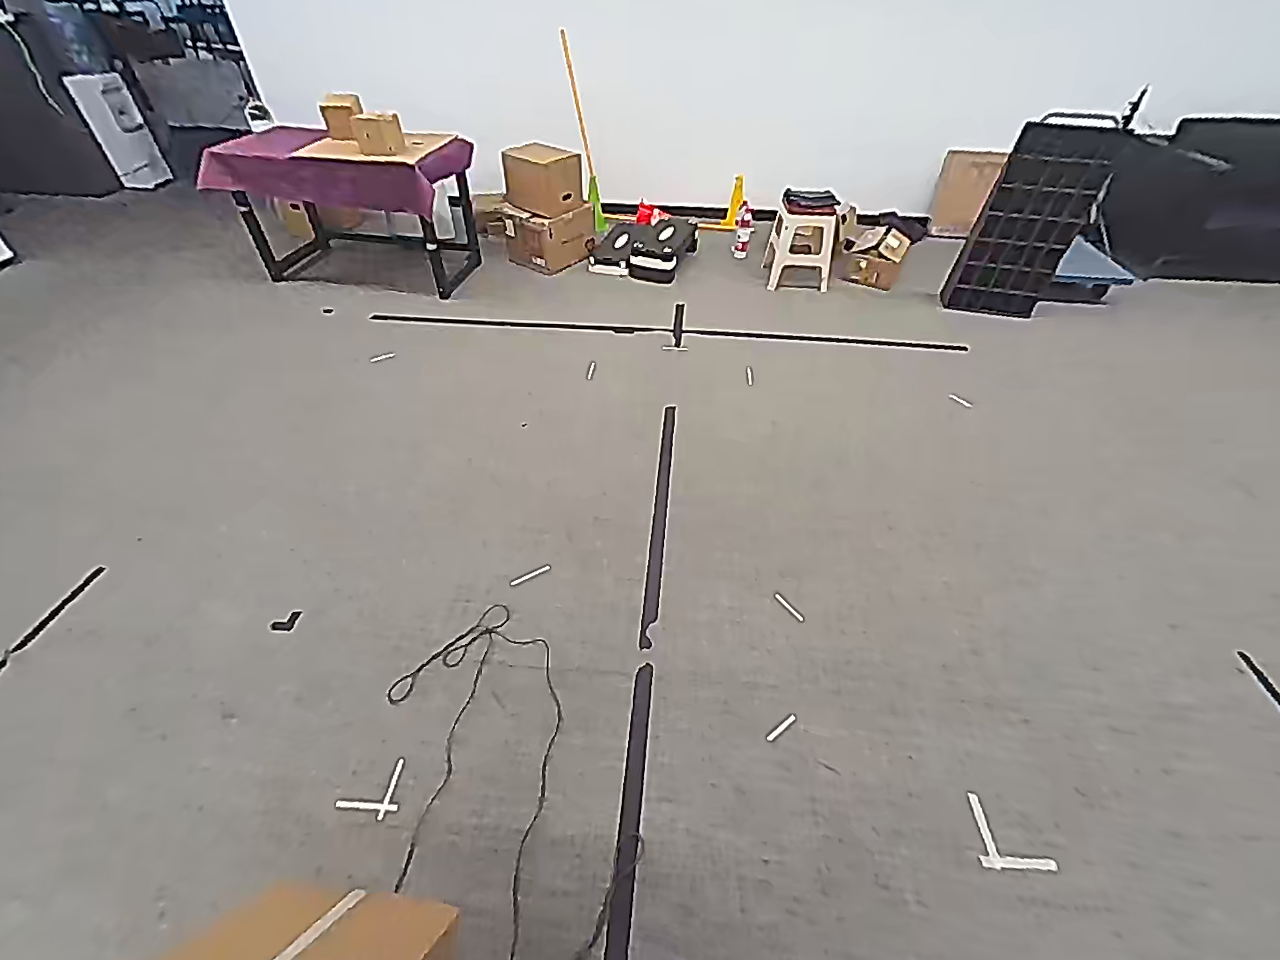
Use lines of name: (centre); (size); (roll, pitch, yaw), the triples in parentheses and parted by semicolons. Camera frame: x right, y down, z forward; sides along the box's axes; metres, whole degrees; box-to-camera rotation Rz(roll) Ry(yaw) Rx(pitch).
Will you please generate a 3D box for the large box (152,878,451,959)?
large box: (-0.470, 0.752, 0.623); (0.320, 0.408, 0.320); (3, 78, 7)
